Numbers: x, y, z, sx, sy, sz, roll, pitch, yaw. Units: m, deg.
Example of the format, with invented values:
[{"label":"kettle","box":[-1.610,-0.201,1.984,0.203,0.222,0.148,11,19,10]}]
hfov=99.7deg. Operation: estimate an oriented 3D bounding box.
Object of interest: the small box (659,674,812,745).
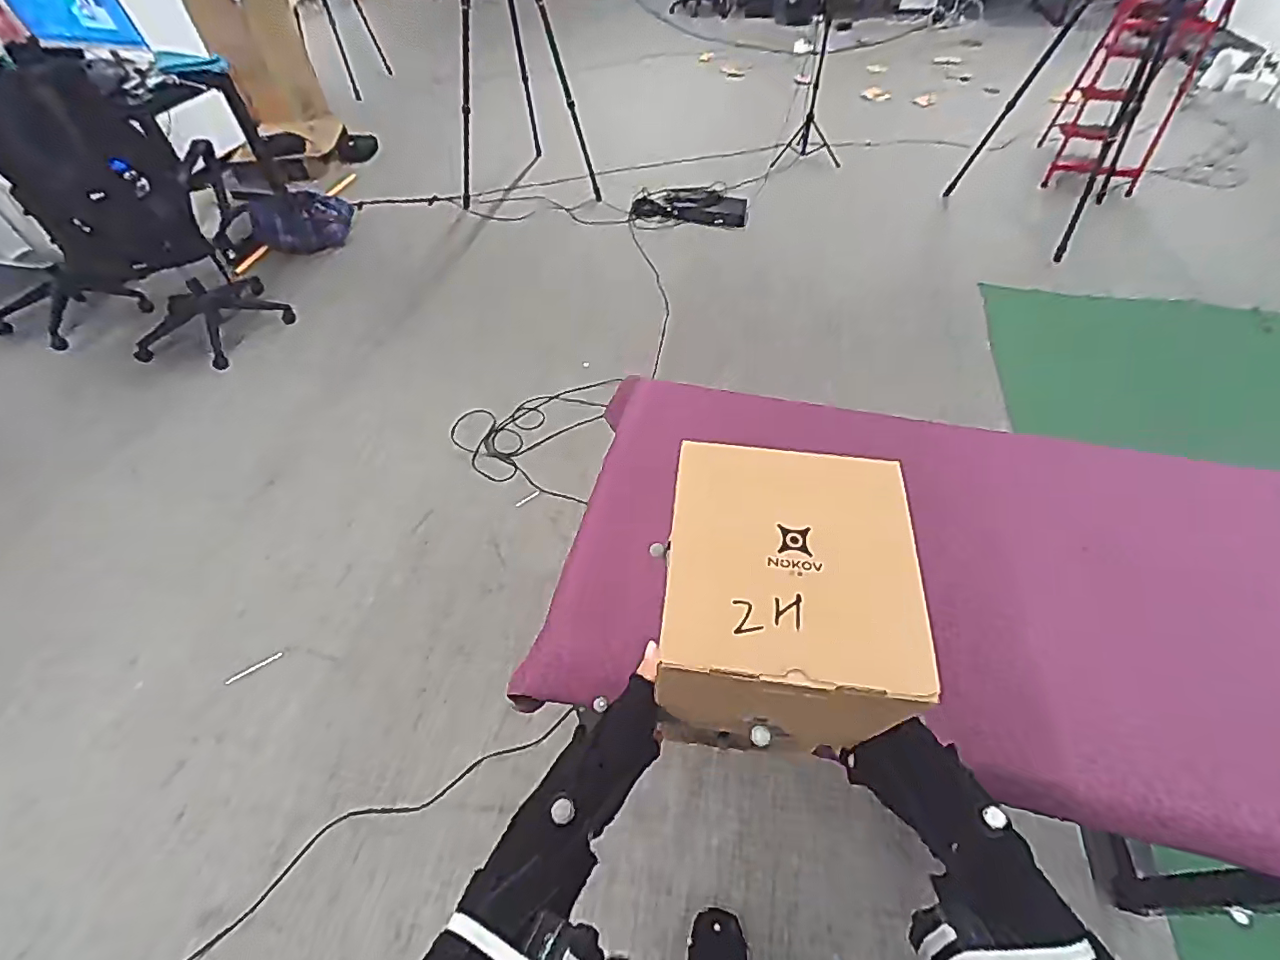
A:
[{"label":"small box","box":[0.110,0.169,0.579,0.168,0.176,0.179,5,56,3]}]

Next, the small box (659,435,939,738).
[{"label":"small box","box":[0.105,0.090,0.433,0.168,0.176,0.179,6,56,5]}]
